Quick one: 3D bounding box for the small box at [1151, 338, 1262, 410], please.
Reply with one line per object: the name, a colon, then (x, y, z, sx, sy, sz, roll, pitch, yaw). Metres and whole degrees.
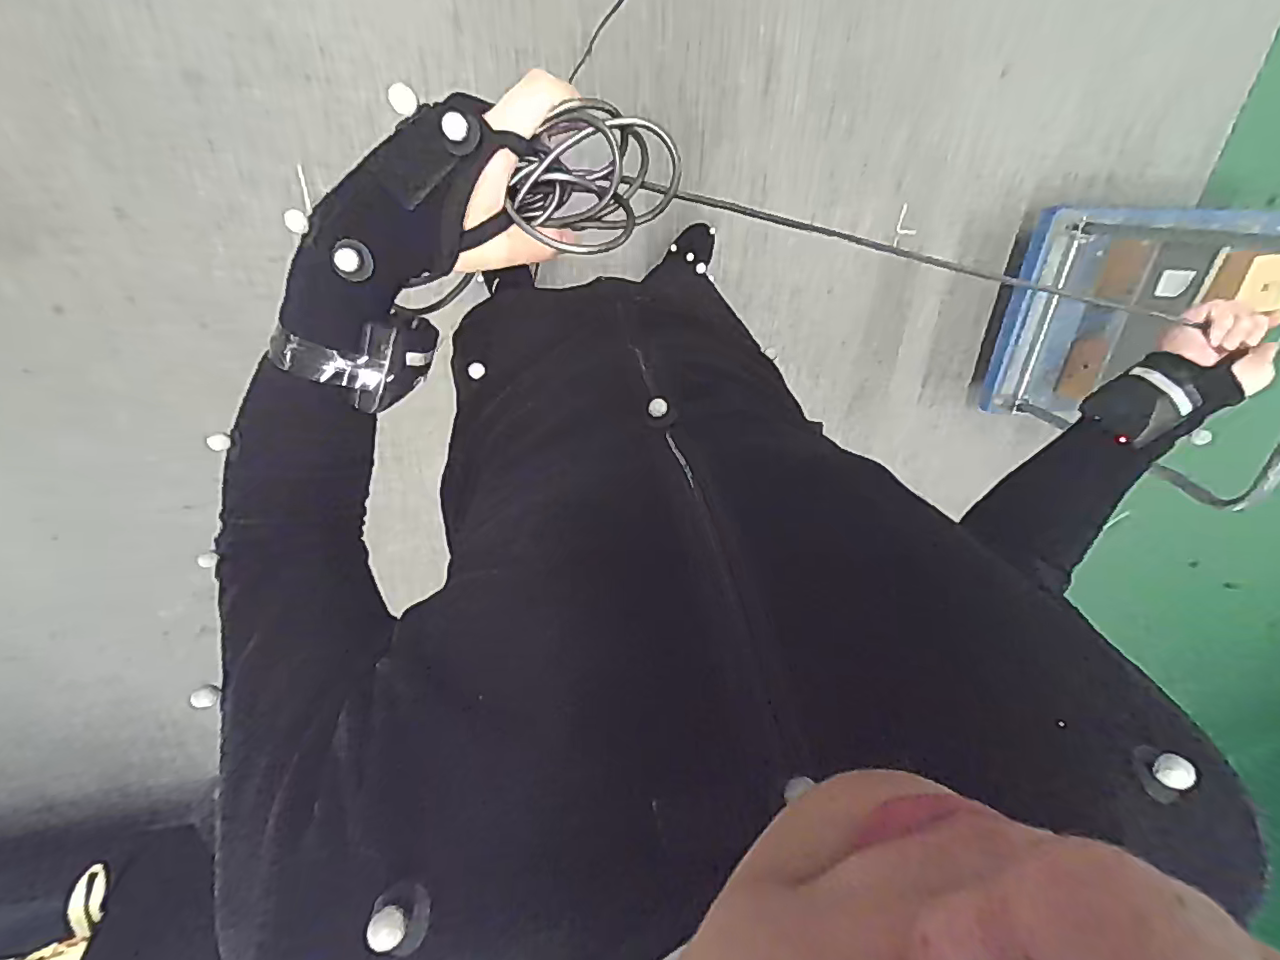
small box: (1.649, -0.321, 1.611, 0.179, 0.176, 0.168, -6, 118, -7)

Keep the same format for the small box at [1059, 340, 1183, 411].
small box: (1.383, -0.307, 1.567, 0.179, 0.176, 0.168, -2, 118, -9)

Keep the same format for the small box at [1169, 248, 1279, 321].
small box: (1.639, -0.542, 1.491, 0.179, 0.176, 0.168, -6, 120, -8)
